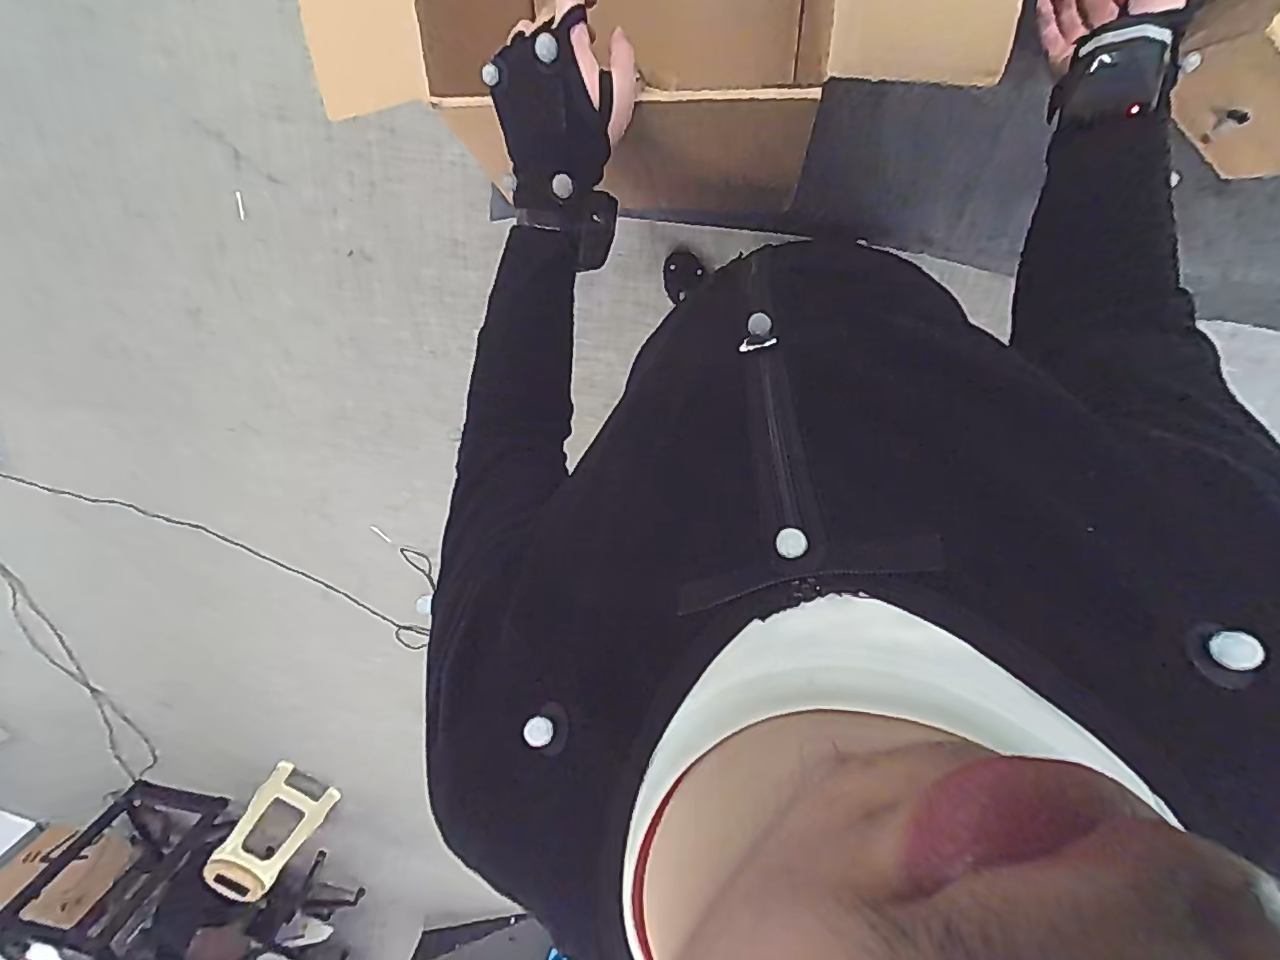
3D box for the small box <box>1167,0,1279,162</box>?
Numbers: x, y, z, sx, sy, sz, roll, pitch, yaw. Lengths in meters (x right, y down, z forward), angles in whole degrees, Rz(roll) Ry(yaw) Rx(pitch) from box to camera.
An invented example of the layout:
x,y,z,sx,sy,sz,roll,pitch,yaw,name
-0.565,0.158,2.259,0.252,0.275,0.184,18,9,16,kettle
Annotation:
x,y,z,sx,sy,sz,roll,pitch,yaw,name
0.634,-0.412,0.476,0.168,0.176,0.179,39,118,-10,small box
